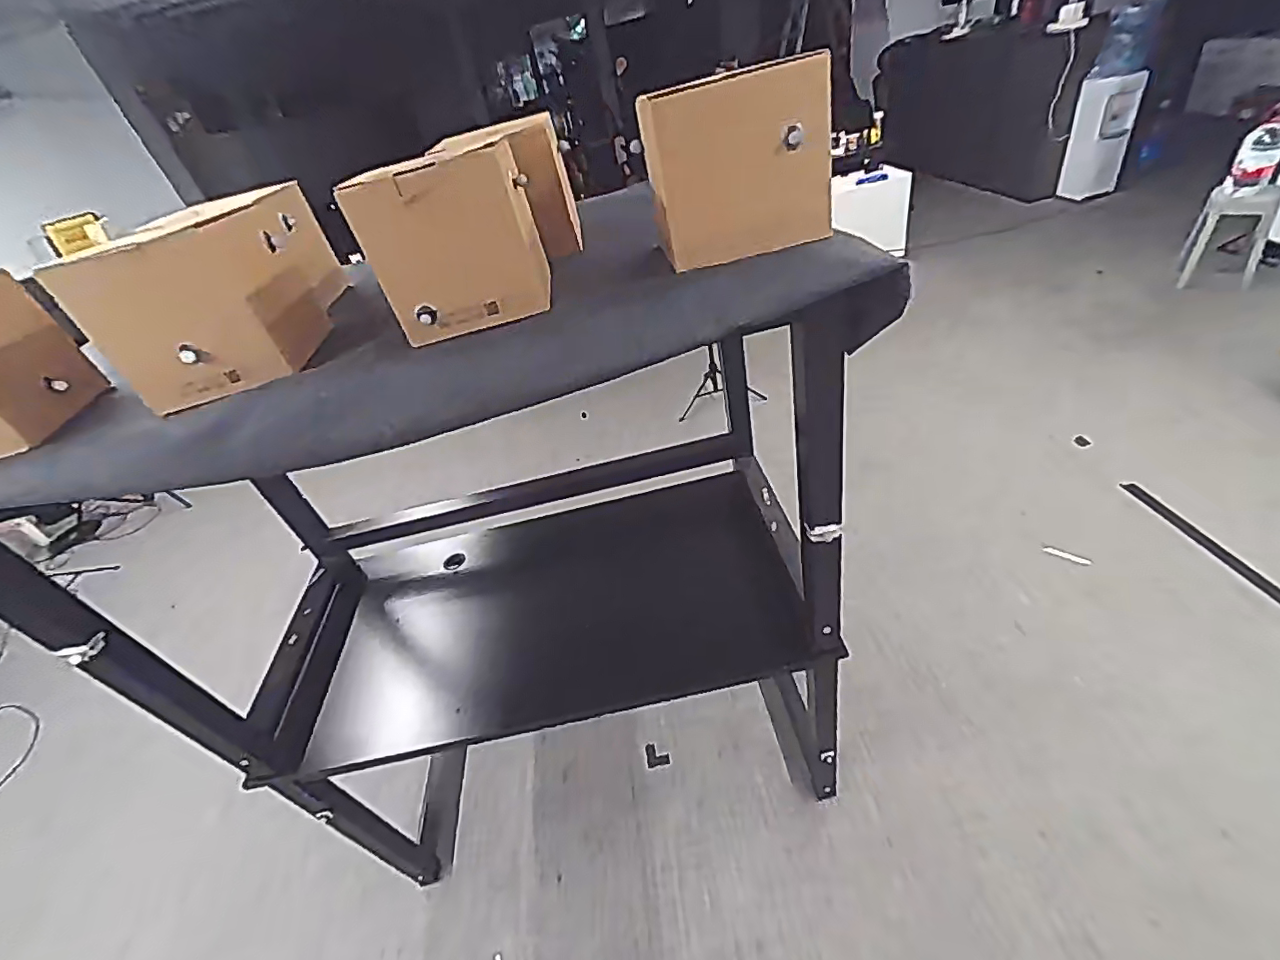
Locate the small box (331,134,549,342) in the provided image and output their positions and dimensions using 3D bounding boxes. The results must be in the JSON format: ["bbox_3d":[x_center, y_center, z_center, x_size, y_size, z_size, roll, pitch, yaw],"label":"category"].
[{"bbox_3d":[-0.209,-0.276,0.625,0.168,0.176,0.179,-15,36,1],"label":"small box"}]

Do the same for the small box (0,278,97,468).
[{"bbox_3d":[-0.809,-0.111,0.629,0.168,0.176,0.179,-18,39,-4],"label":"small box"}]

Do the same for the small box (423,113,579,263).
[{"bbox_3d":[-0.191,-0.421,0.802,0.168,0.176,0.179,-14,39,3],"label":"small box"}]
